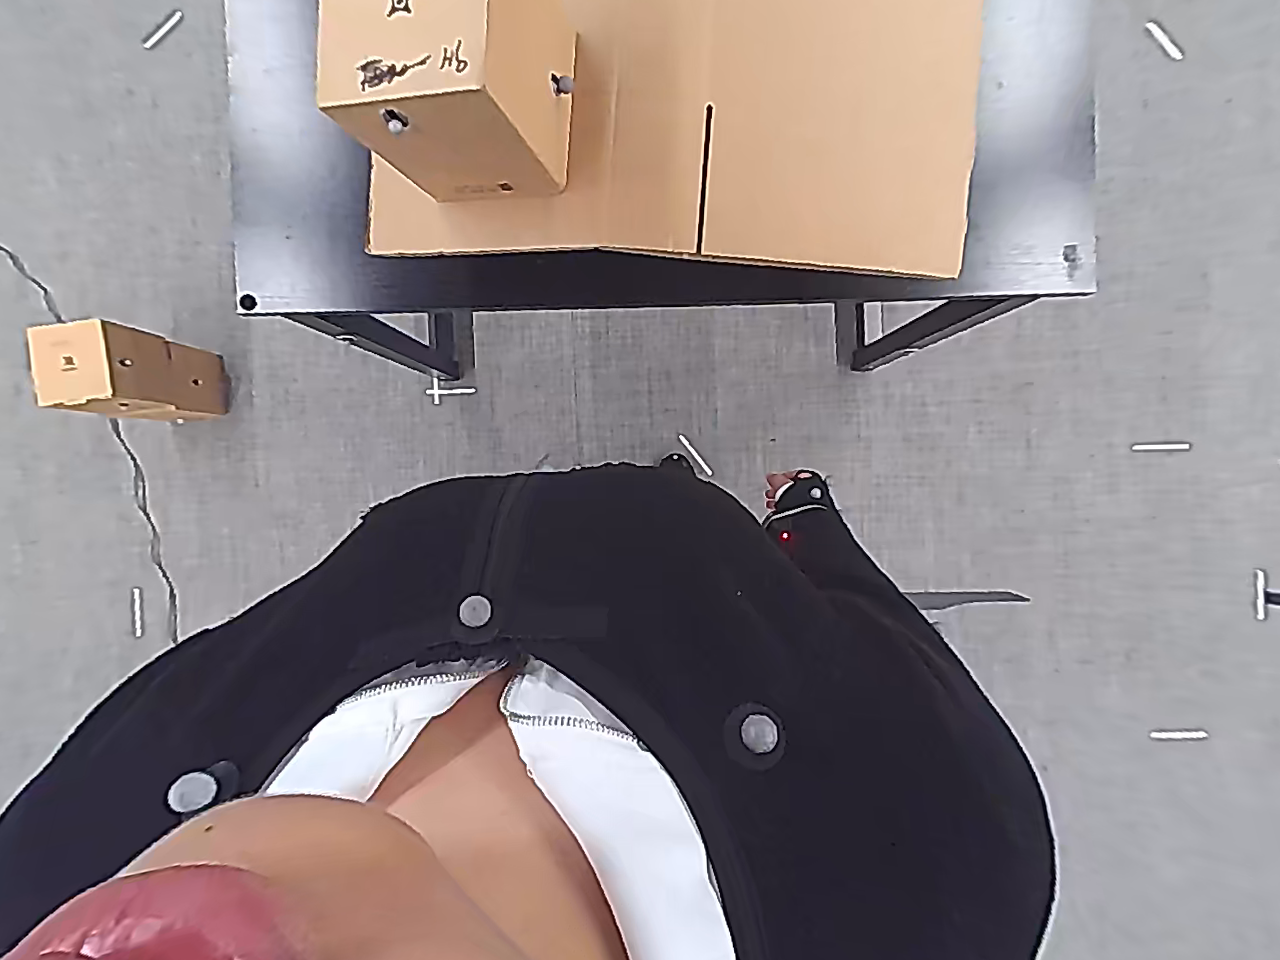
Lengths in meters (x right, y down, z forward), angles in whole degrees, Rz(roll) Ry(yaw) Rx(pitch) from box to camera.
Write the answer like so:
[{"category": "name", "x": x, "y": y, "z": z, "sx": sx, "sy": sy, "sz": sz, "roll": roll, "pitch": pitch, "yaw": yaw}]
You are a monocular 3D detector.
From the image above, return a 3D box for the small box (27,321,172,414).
[{"category": "small box", "x": -1.239, "y": -0.251, "z": 1.254, "sx": 0.168, "sy": 0.176, "sz": 0.179, "roll": -8, "pitch": 90, "yaw": 0}]

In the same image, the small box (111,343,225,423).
[{"category": "small box", "x": -1.236, "y": -0.249, "z": 1.417, "sx": 0.168, "sy": 0.176, "sz": 0.179, "roll": -5, "pitch": 92, "yaw": 1}]

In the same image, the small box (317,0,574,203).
[{"category": "small box", "x": -0.172, "y": -0.399, "z": 0.523, "sx": 0.168, "sy": 0.176, "sz": 0.179, "roll": 4, "pitch": 91, "yaw": 15}]
